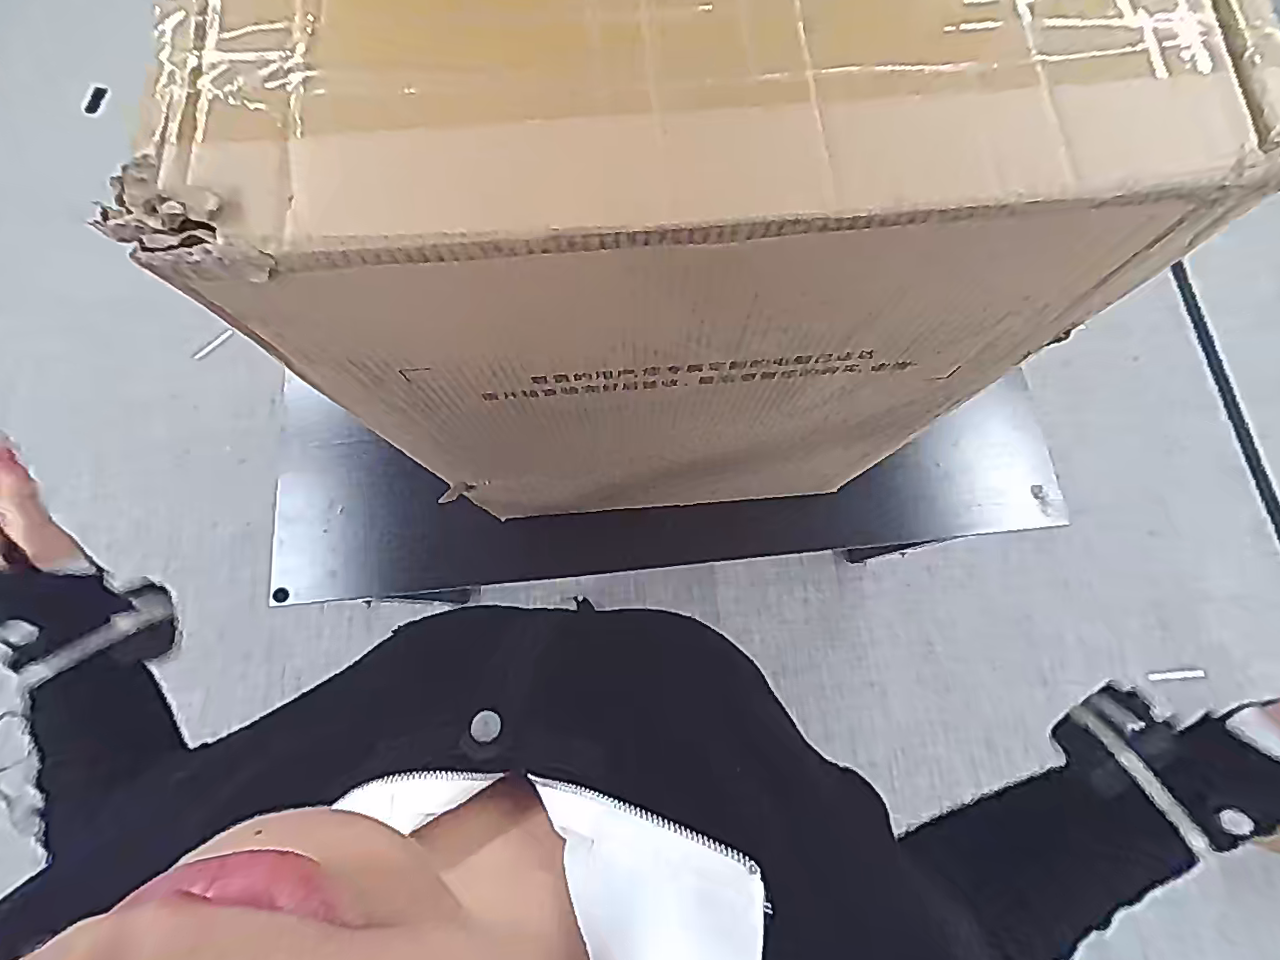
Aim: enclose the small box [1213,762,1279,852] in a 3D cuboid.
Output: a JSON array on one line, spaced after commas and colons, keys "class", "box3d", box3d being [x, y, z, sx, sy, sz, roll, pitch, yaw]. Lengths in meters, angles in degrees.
[{"class": "small box", "box3d": [1.568, 0.798, 1.315, 0.168, 0.176, 0.179, -1, 77, 0]}]
